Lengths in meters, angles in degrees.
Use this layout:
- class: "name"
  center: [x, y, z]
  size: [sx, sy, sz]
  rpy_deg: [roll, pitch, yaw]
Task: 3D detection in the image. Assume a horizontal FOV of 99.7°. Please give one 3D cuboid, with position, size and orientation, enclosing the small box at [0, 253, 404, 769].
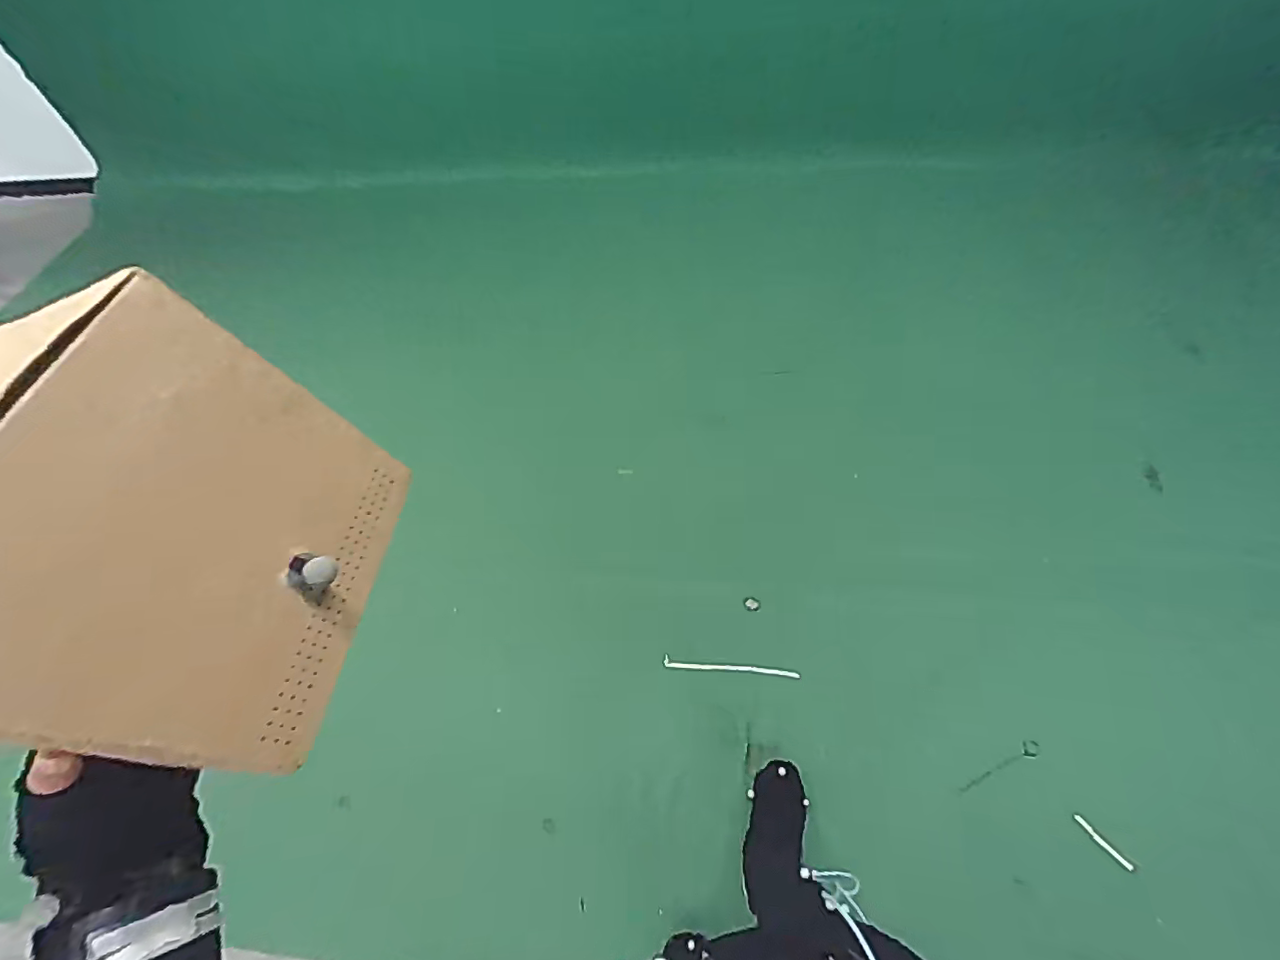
- class: "small box"
  center: [-0.252, 0.029, 0.267]
  size: [0.168, 0.176, 0.179]
  rpy_deg: [-8, 55, 22]
